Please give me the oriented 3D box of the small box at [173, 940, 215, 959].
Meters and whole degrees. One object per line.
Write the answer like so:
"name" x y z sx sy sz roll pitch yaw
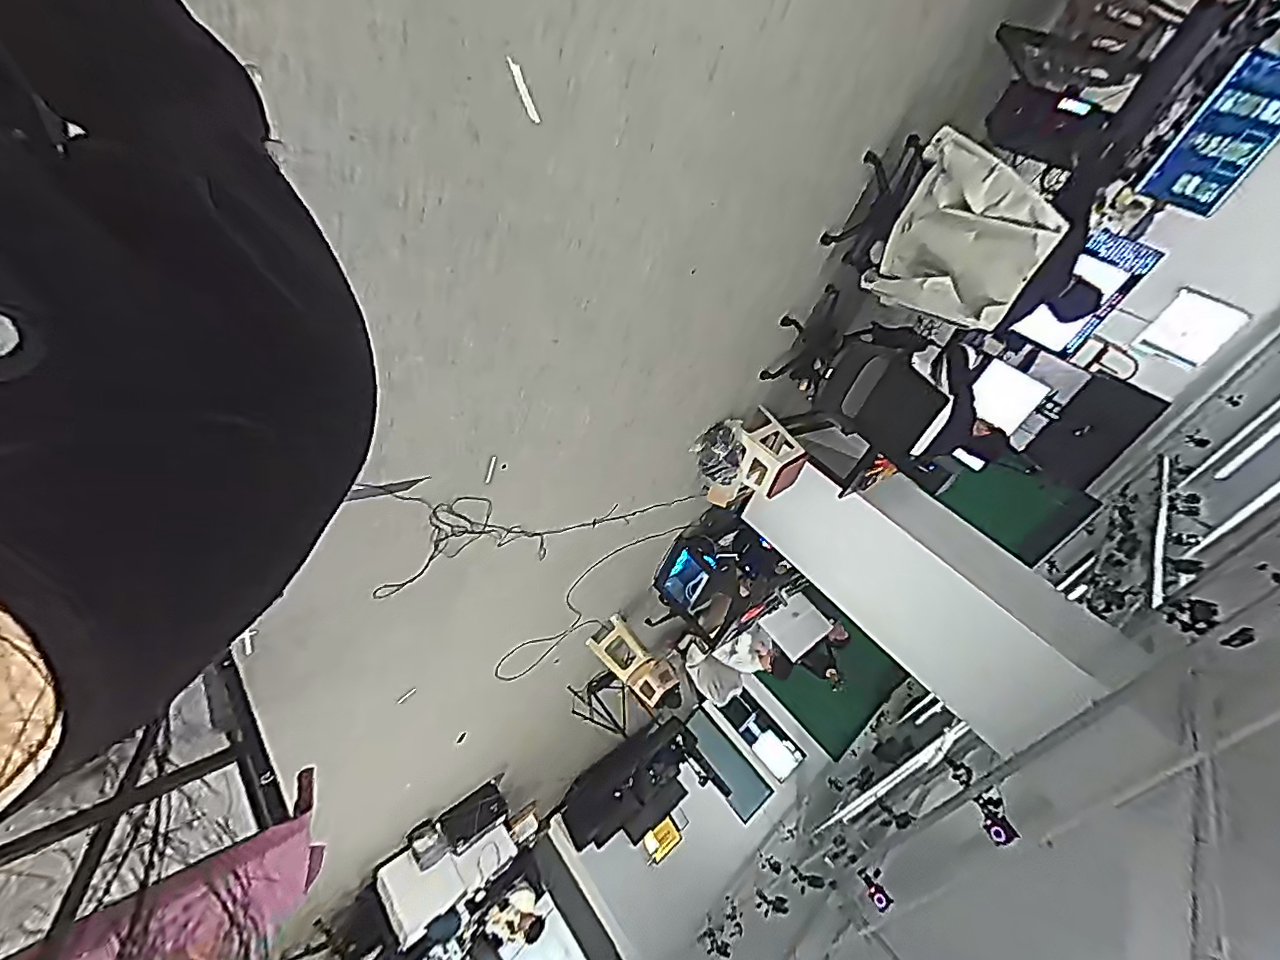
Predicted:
"small box" -1.350 1.524 1.600 0.168 0.176 0.179 -15 138 -44
